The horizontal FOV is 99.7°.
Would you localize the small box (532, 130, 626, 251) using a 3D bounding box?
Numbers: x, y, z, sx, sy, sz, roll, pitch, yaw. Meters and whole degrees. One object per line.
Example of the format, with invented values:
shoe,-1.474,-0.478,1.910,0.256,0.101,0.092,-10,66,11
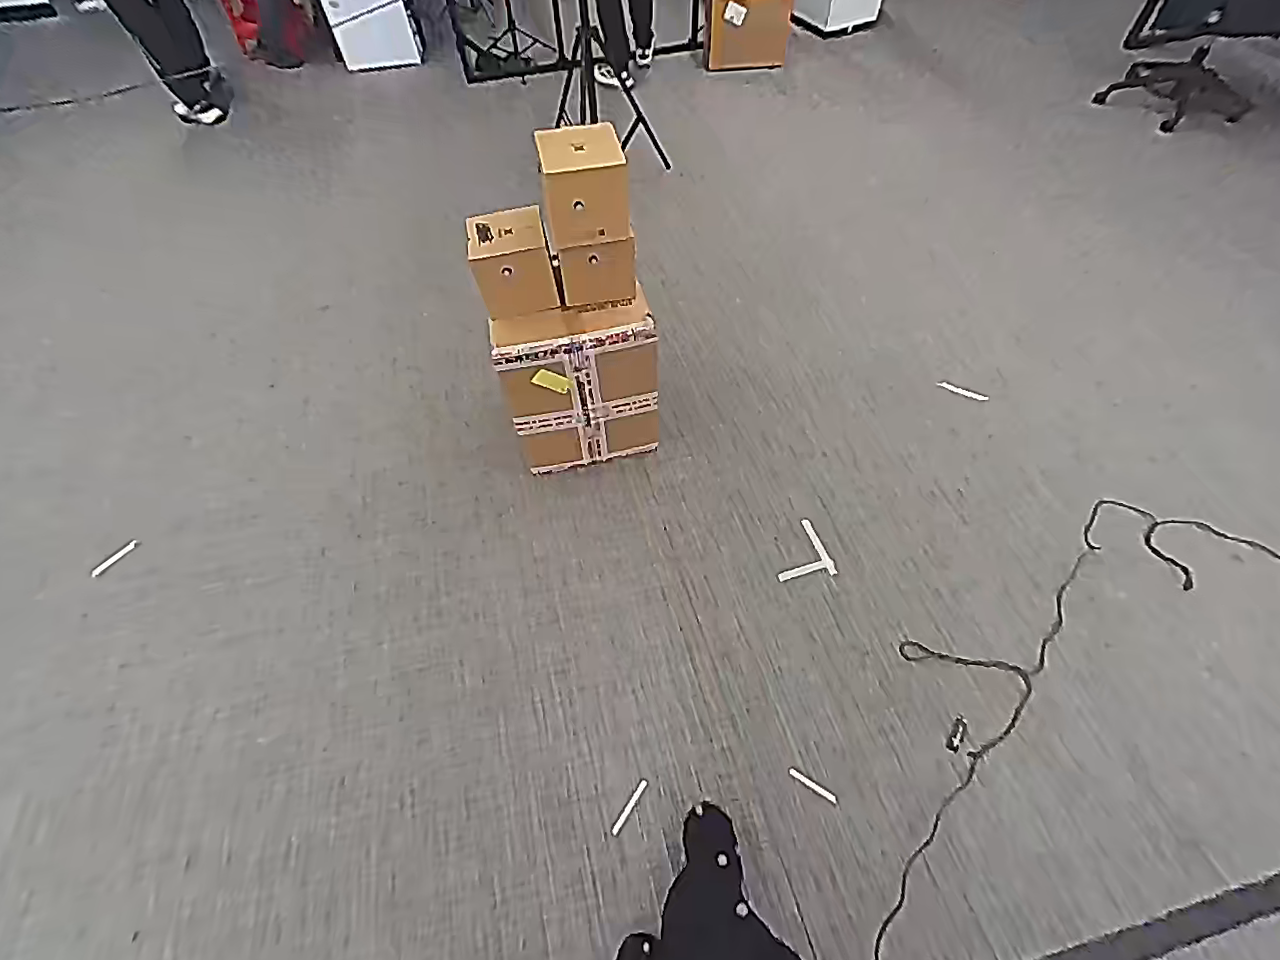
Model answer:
small box,-0.127,-0.613,1.161,0.168,0.176,0.179,-12,57,-6
